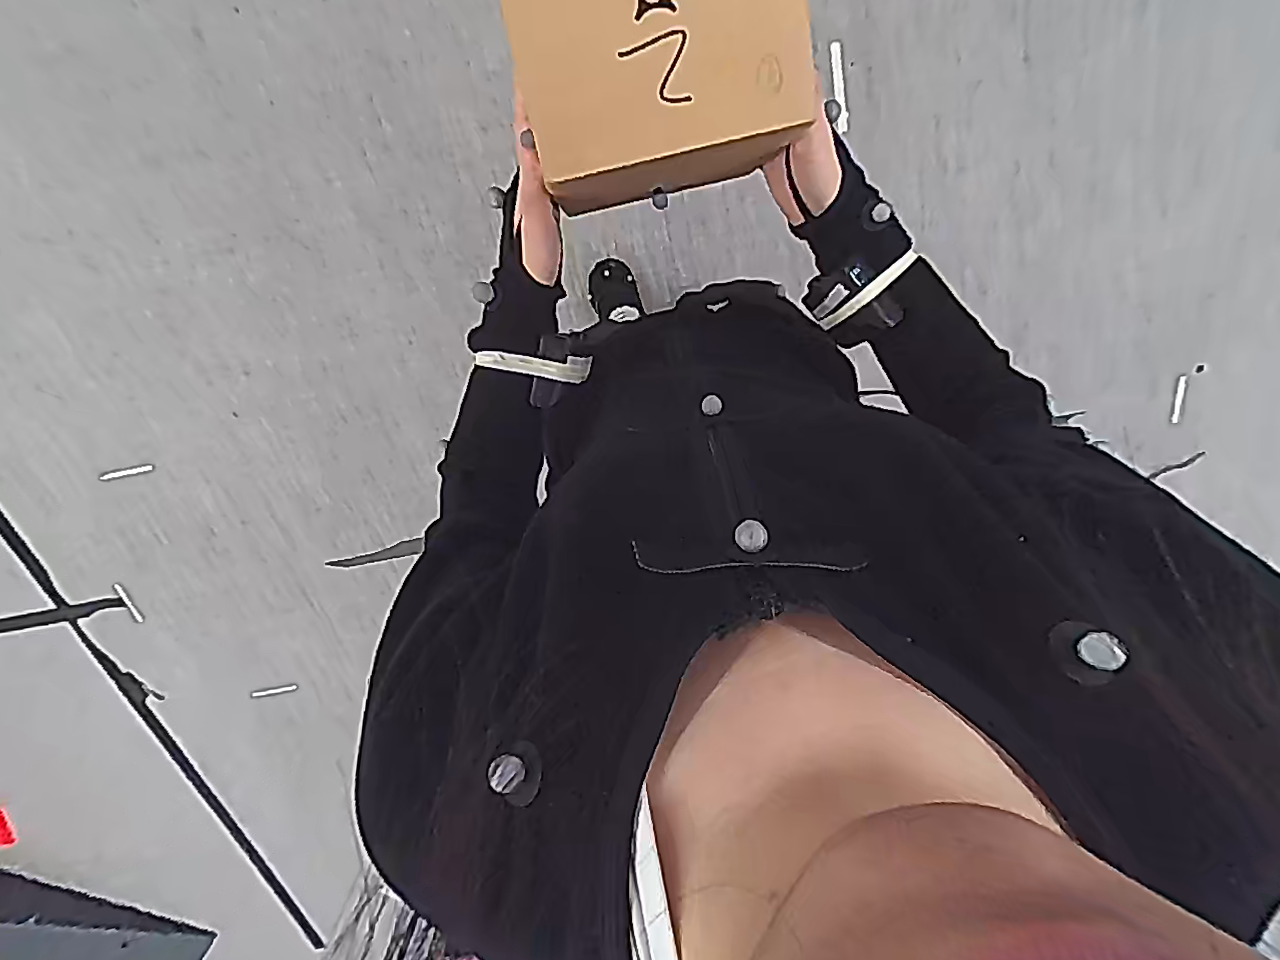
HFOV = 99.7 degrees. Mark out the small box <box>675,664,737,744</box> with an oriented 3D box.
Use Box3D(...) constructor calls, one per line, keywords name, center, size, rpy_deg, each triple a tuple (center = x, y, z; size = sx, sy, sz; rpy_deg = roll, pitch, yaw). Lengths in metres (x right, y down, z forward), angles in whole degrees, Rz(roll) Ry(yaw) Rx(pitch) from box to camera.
Box3D(name="small box", center=(0.211, 0.720, 1.761), size=(0.168, 0.176, 0.179), rpy_deg=(-10, 113, 2))
